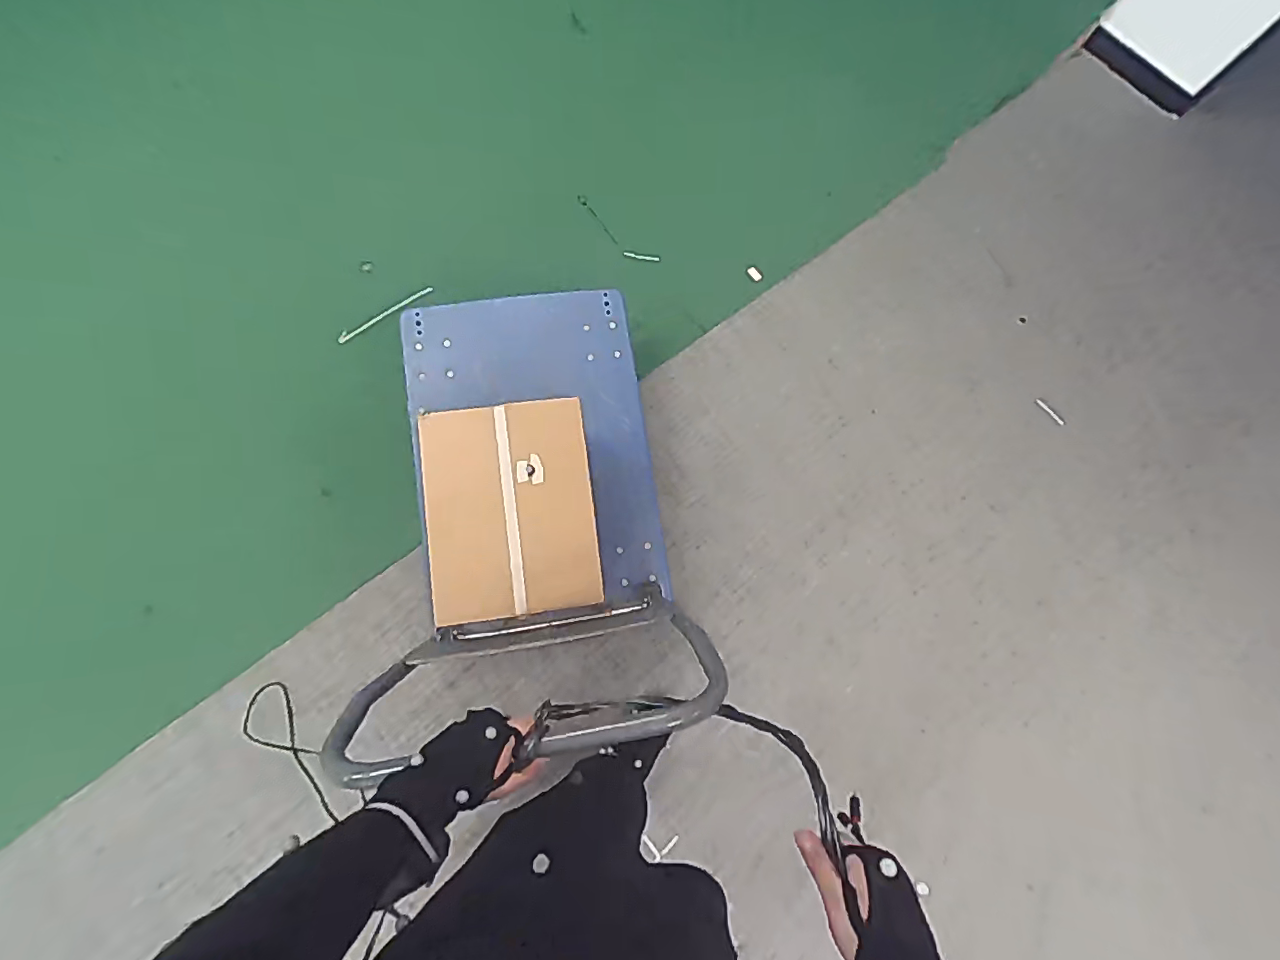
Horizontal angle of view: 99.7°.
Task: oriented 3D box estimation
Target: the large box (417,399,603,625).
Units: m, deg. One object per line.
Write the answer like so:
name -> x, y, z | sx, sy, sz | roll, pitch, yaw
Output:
large box -> -0.261, 0.075, 1.172 | 0.320, 0.320, 0.408 | -7, 82, -7
